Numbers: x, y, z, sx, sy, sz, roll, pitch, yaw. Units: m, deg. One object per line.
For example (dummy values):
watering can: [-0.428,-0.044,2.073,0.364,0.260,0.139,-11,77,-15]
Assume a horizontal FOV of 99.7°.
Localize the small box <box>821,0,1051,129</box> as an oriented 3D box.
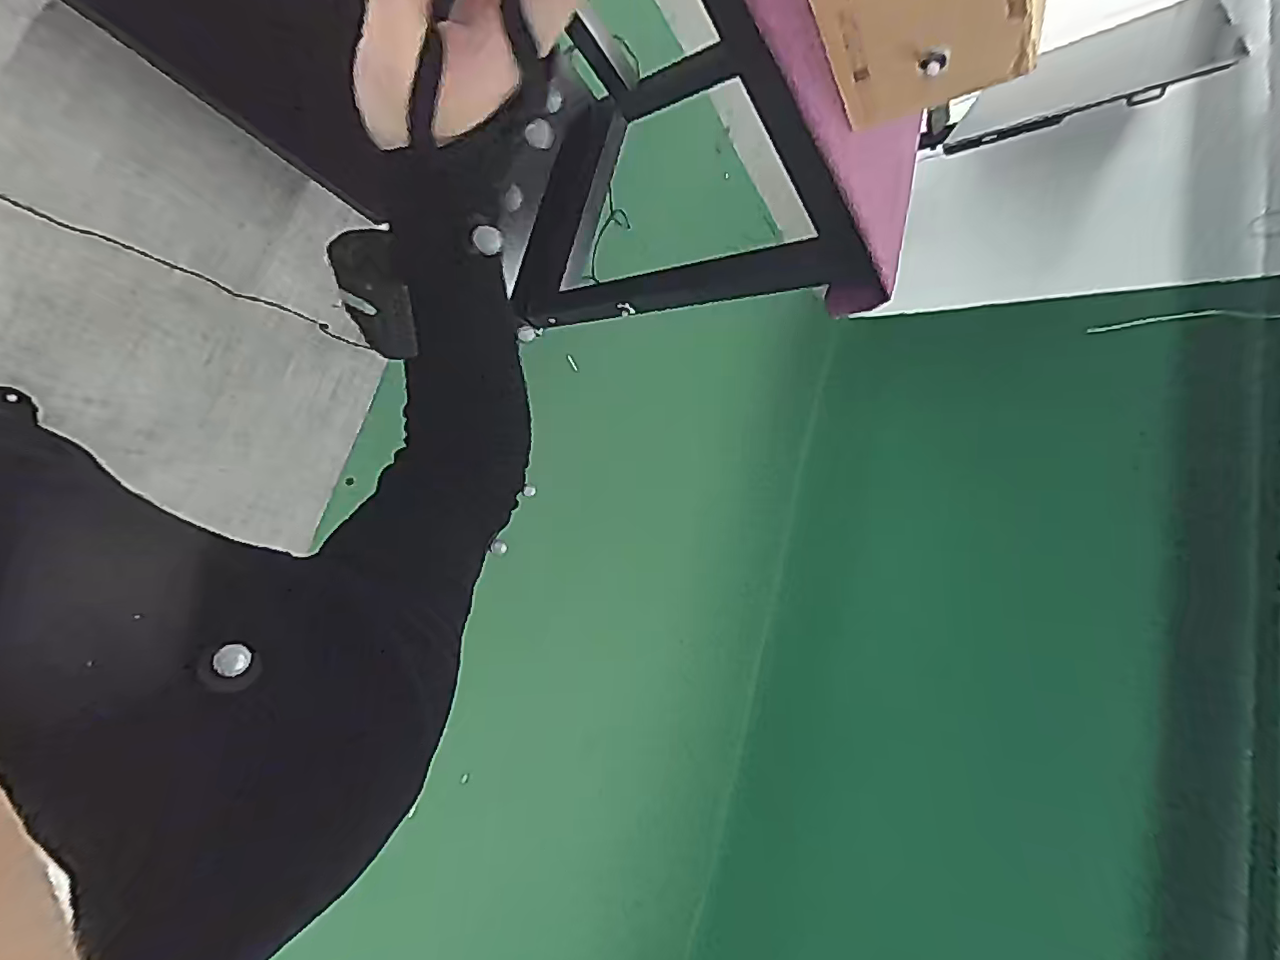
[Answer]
small box: [0.274,-0.476,0.503,0.168,0.176,0.179,36,67,-48]
